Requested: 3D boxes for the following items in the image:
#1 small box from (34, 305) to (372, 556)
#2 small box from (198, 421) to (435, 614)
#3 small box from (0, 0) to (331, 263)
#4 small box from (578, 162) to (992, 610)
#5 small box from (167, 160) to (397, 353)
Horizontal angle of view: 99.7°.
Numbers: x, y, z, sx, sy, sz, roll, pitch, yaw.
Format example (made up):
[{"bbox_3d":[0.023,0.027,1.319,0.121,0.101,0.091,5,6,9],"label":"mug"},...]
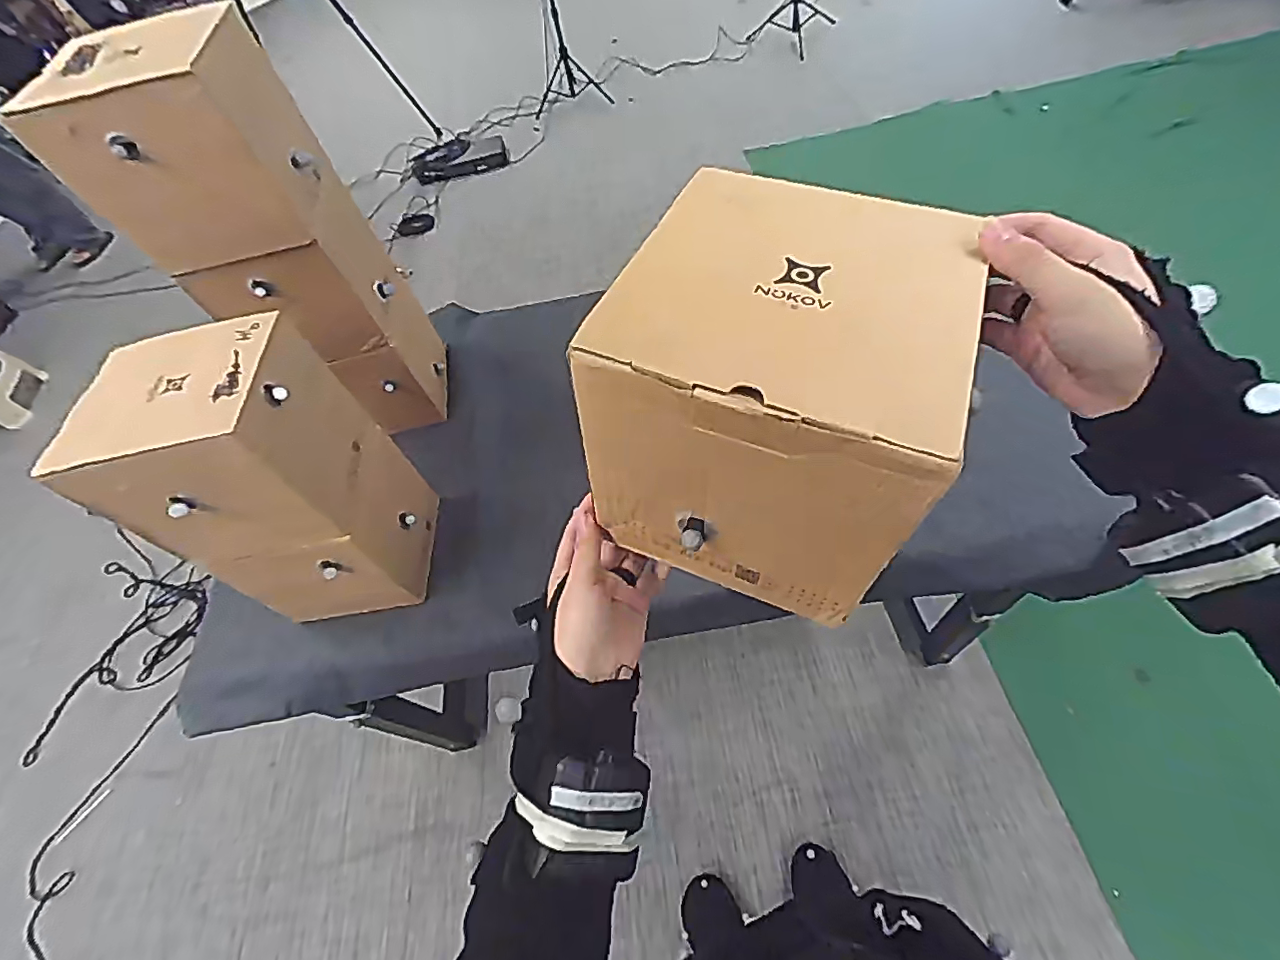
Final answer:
[{"bbox_3d":[-0.408,-0.041,0.546,0.179,0.176,0.168,-13,55,2],"label":"small box"},{"bbox_3d":[-0.379,0.053,0.677,0.179,0.176,0.168,-9,54,4],"label":"small box"},{"bbox_3d":[-0.465,-0.355,0.564,0.179,0.176,0.168,-12,59,1],"label":"small box"},{"bbox_3d":[0.078,-0.052,0.325,0.168,0.176,0.179,19,59,13],"label":"small box"},{"bbox_3d":[-0.447,-0.277,0.708,0.179,0.176,0.168,-14,59,0],"label":"small box"}]
